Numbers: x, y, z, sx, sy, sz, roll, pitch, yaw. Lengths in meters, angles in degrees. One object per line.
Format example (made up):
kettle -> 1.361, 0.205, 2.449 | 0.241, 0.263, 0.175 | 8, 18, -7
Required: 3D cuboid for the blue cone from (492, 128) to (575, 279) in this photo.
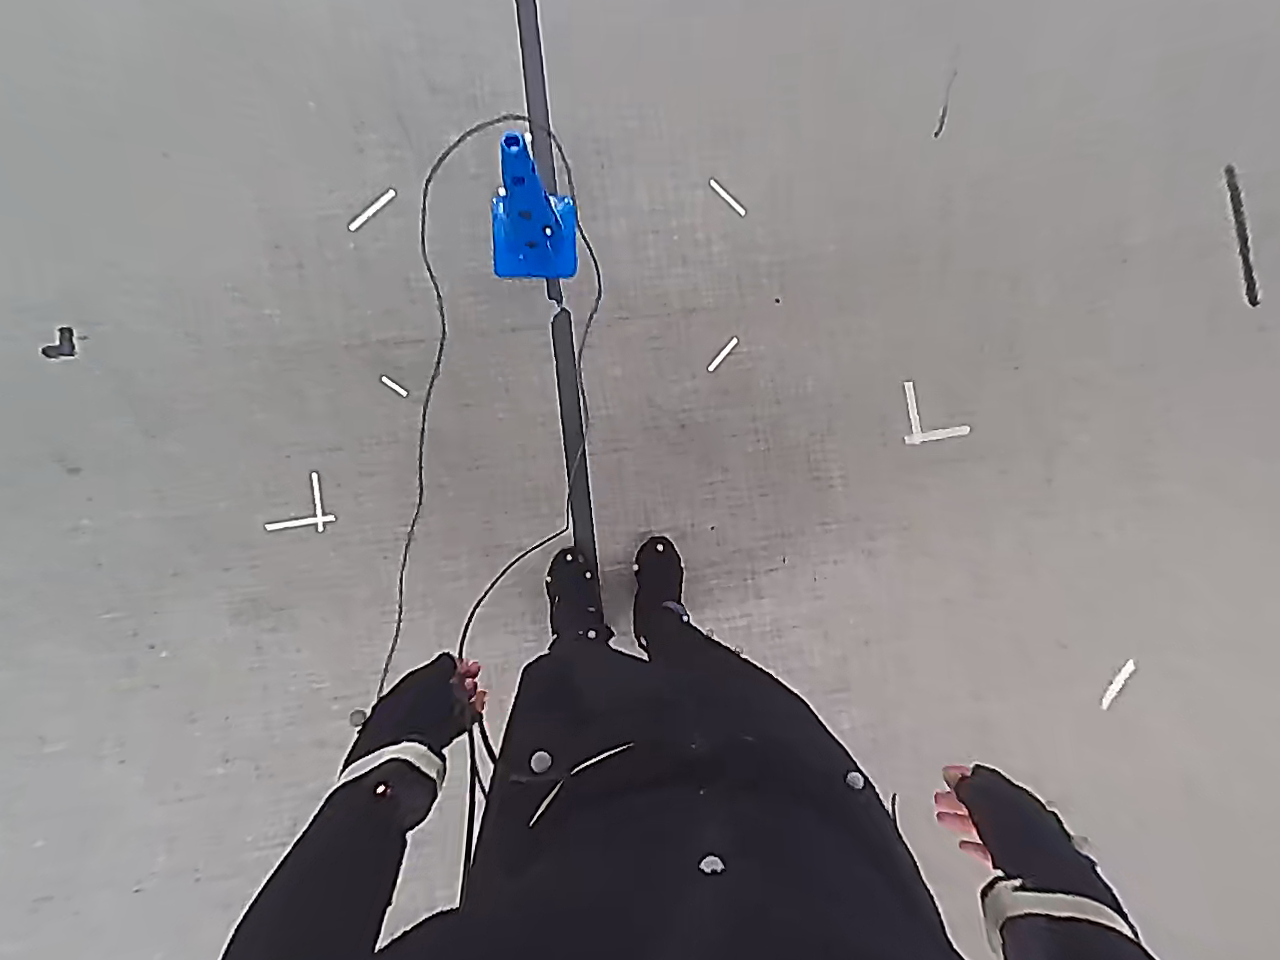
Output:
blue cone -> -0.240, -0.578, 1.121 | 0.193, 0.380, 0.192 | -4, 89, -4
